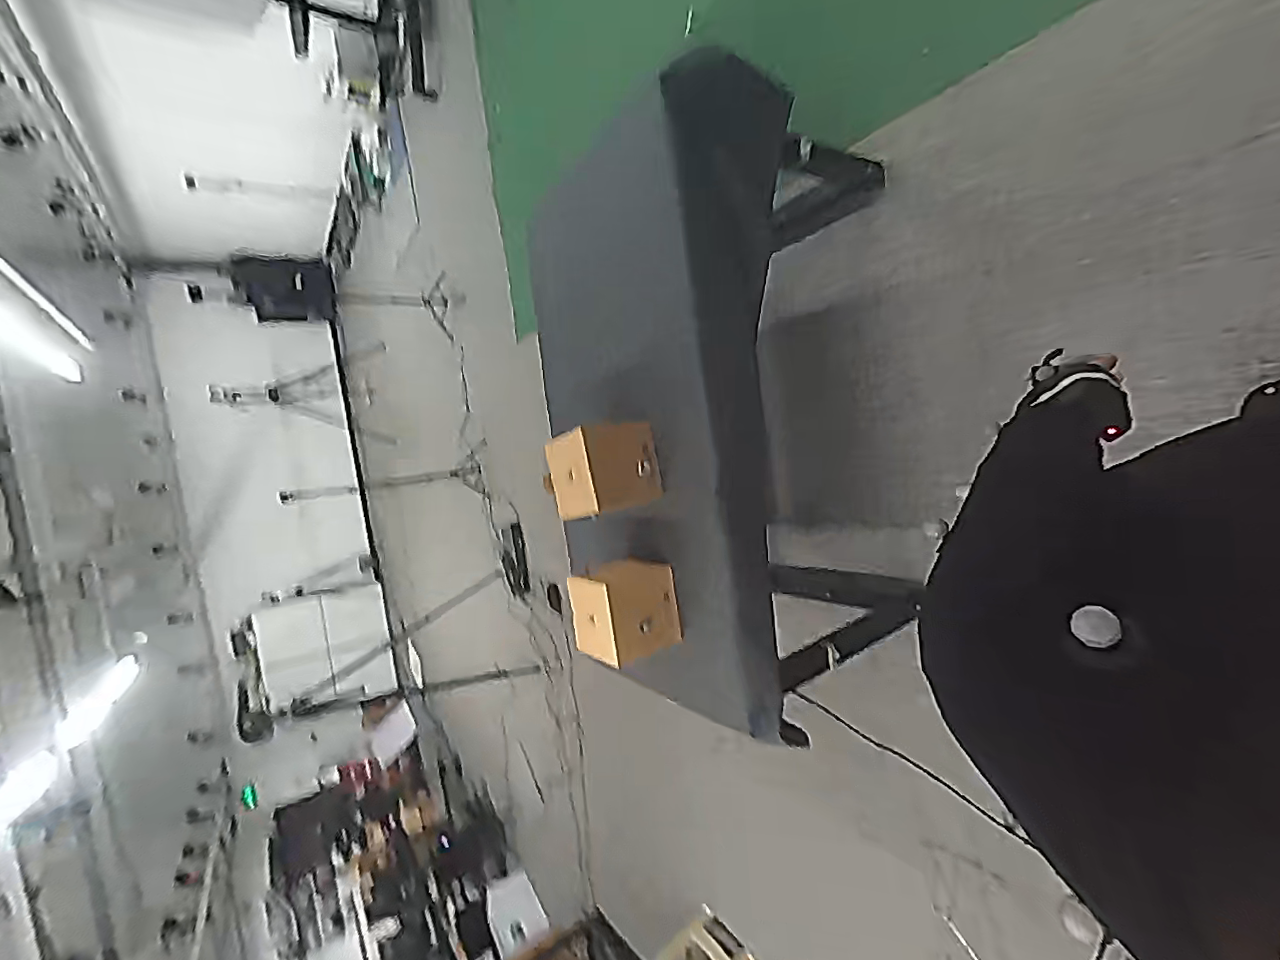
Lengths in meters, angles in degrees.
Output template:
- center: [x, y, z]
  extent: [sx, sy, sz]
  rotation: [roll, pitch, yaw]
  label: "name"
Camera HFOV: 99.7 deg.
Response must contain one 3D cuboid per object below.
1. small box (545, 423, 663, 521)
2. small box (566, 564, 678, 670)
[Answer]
- center: [-0.077, -0.015, 1.136]
  extent: [0.179, 0.176, 0.168]
  rotation: [-17, 85, 55]
  label: "small box"
- center: [-0.034, 0.281, 1.151]
  extent: [0.179, 0.176, 0.168]
  rotation: [-7, 93, 56]
  label: "small box"
